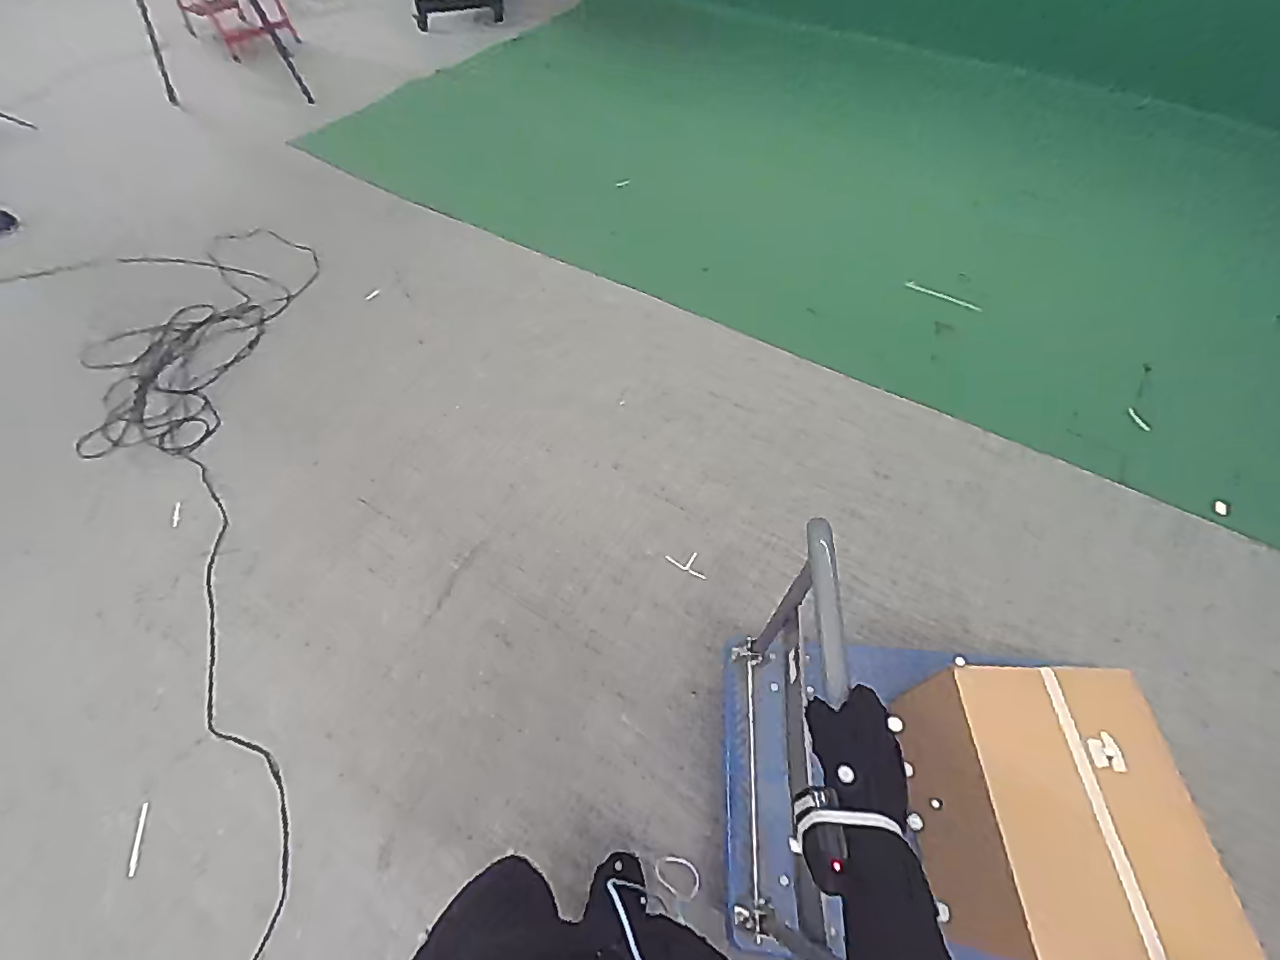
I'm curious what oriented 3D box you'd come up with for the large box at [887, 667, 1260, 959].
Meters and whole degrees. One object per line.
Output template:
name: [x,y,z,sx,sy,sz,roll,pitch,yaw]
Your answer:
large box: [0.688,0.579,0.958,0.320,0.320,0.408,2,55,0]
